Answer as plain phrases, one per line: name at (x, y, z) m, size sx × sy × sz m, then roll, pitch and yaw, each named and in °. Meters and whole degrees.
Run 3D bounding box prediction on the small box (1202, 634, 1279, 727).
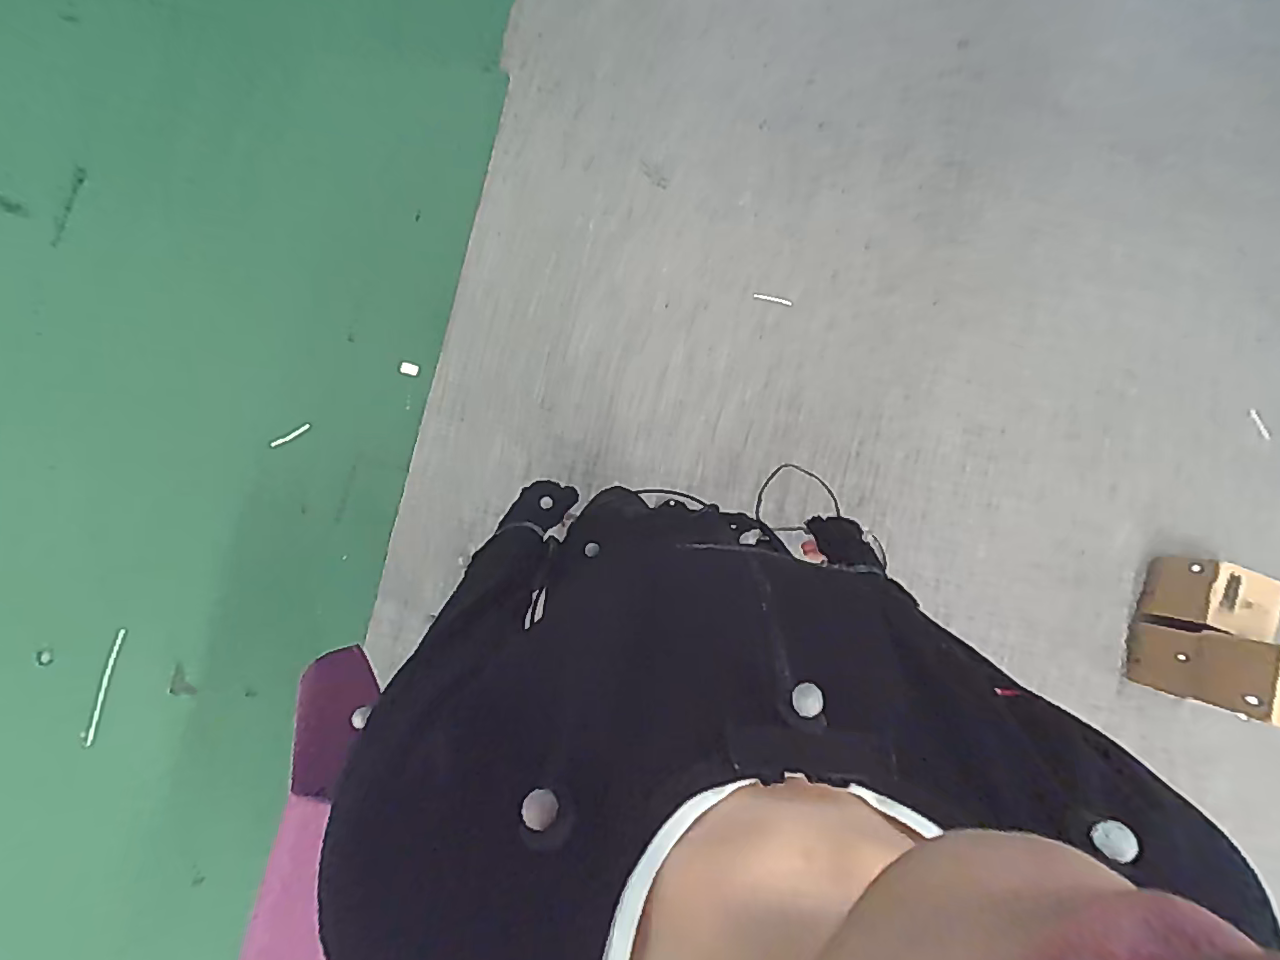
small box at (1.434, 0.459, 1.217) m, size 0.168 × 0.176 × 0.179 m, roll 12°, pitch 86°, yaw 1°
